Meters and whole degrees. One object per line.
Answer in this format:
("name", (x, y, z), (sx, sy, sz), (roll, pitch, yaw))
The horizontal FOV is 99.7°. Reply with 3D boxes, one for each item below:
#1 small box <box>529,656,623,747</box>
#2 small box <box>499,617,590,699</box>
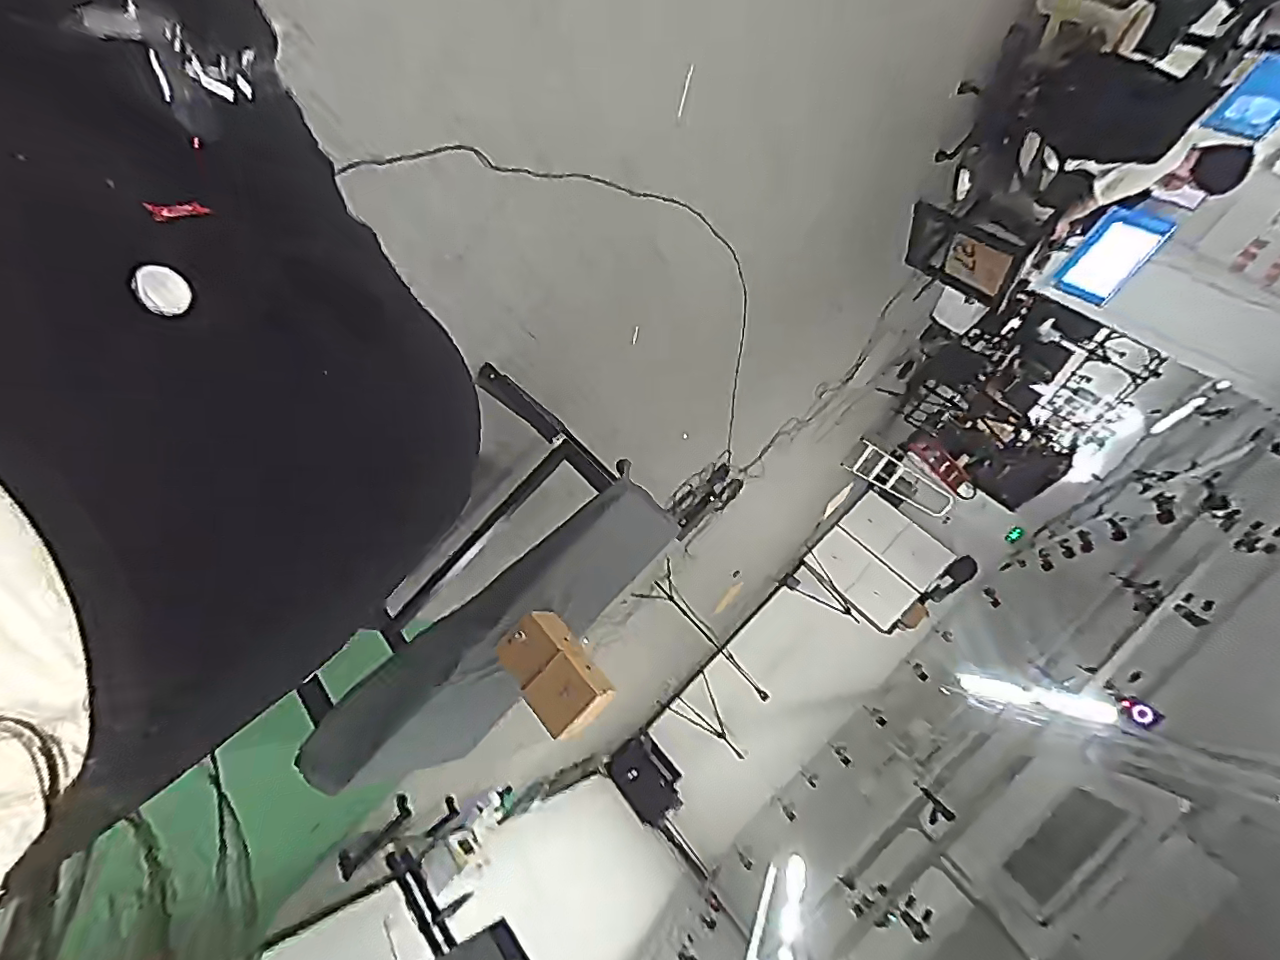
("small box", (-0.184, 0.627, 1.563), (0.179, 0.176, 0.168), (-49, 157, 2))
("small box", (-0.289, 0.535, 1.644), (0.168, 0.176, 0.179), (-50, 154, 1))
